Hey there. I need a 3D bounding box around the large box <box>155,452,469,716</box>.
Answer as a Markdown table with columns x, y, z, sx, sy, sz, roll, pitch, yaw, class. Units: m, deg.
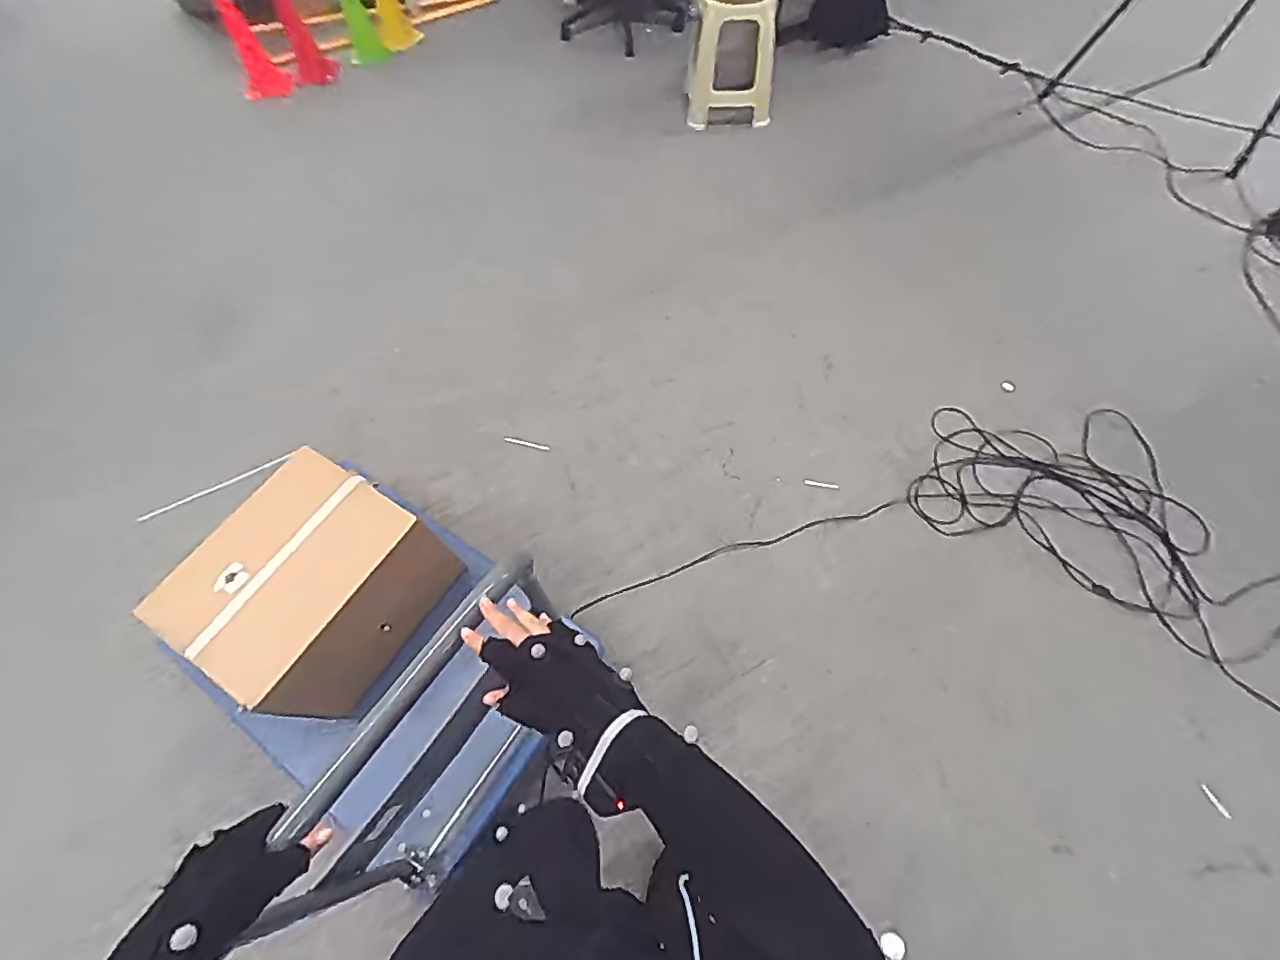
| x | y | z | sx | sy | sz | roll | pitch | yaw | class |
| --- | --- | --- | --- | --- | --- | --- | --- | --- | --- |
| -0.640 | 0.226 | 1.138 | 0.320 | 0.320 | 0.408 | 29 | 68 | 15 | large box |
